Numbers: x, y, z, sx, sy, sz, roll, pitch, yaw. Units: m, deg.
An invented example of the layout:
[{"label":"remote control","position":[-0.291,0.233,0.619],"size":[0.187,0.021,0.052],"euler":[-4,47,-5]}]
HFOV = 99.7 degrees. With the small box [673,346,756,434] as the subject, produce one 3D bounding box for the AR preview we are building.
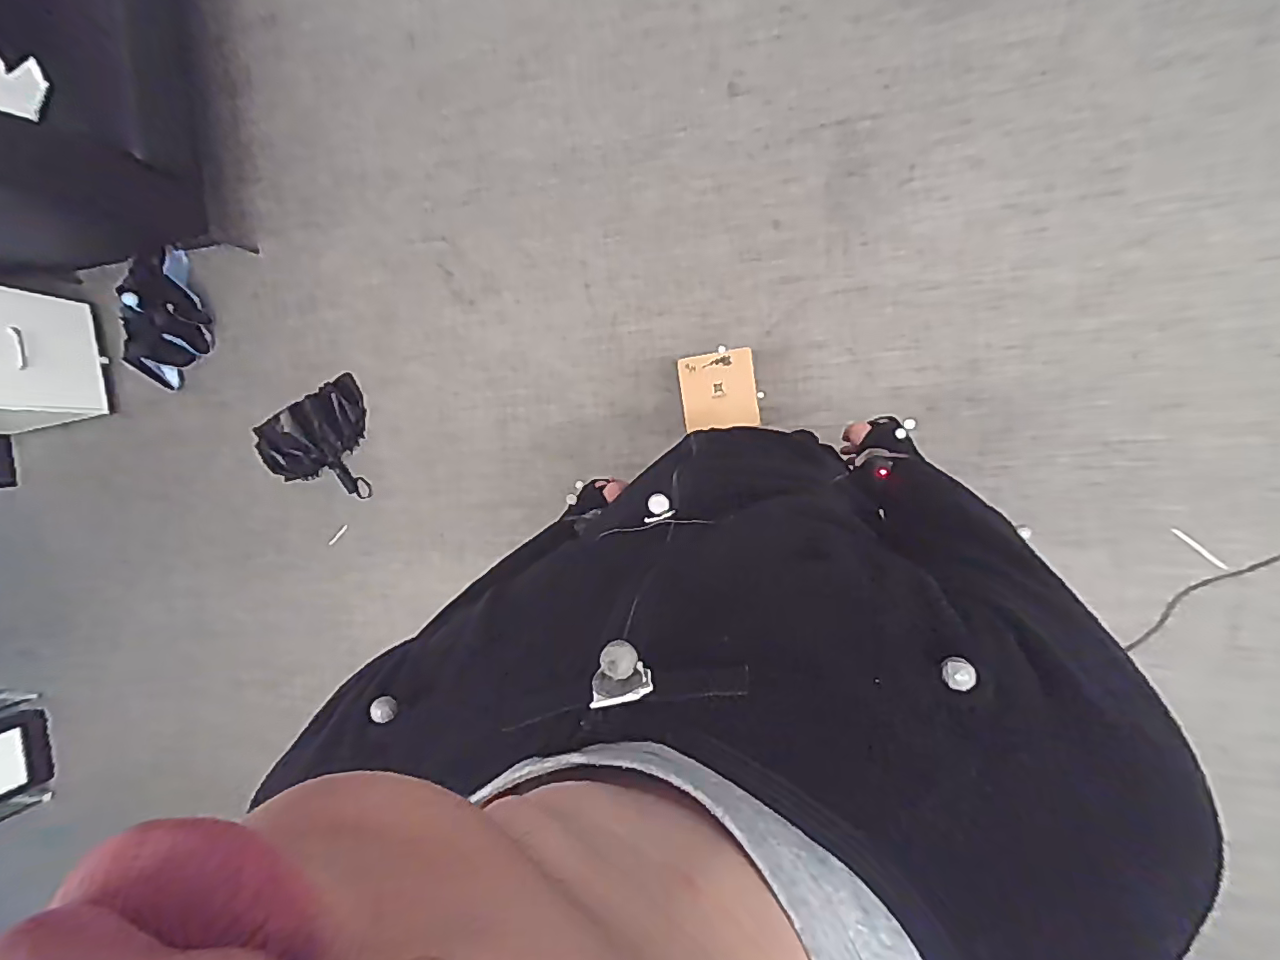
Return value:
[{"label":"small box","position":[0.183,-0.208,1.284],"size":[0.168,0.176,0.179],"euler":[-7,94,14]}]
